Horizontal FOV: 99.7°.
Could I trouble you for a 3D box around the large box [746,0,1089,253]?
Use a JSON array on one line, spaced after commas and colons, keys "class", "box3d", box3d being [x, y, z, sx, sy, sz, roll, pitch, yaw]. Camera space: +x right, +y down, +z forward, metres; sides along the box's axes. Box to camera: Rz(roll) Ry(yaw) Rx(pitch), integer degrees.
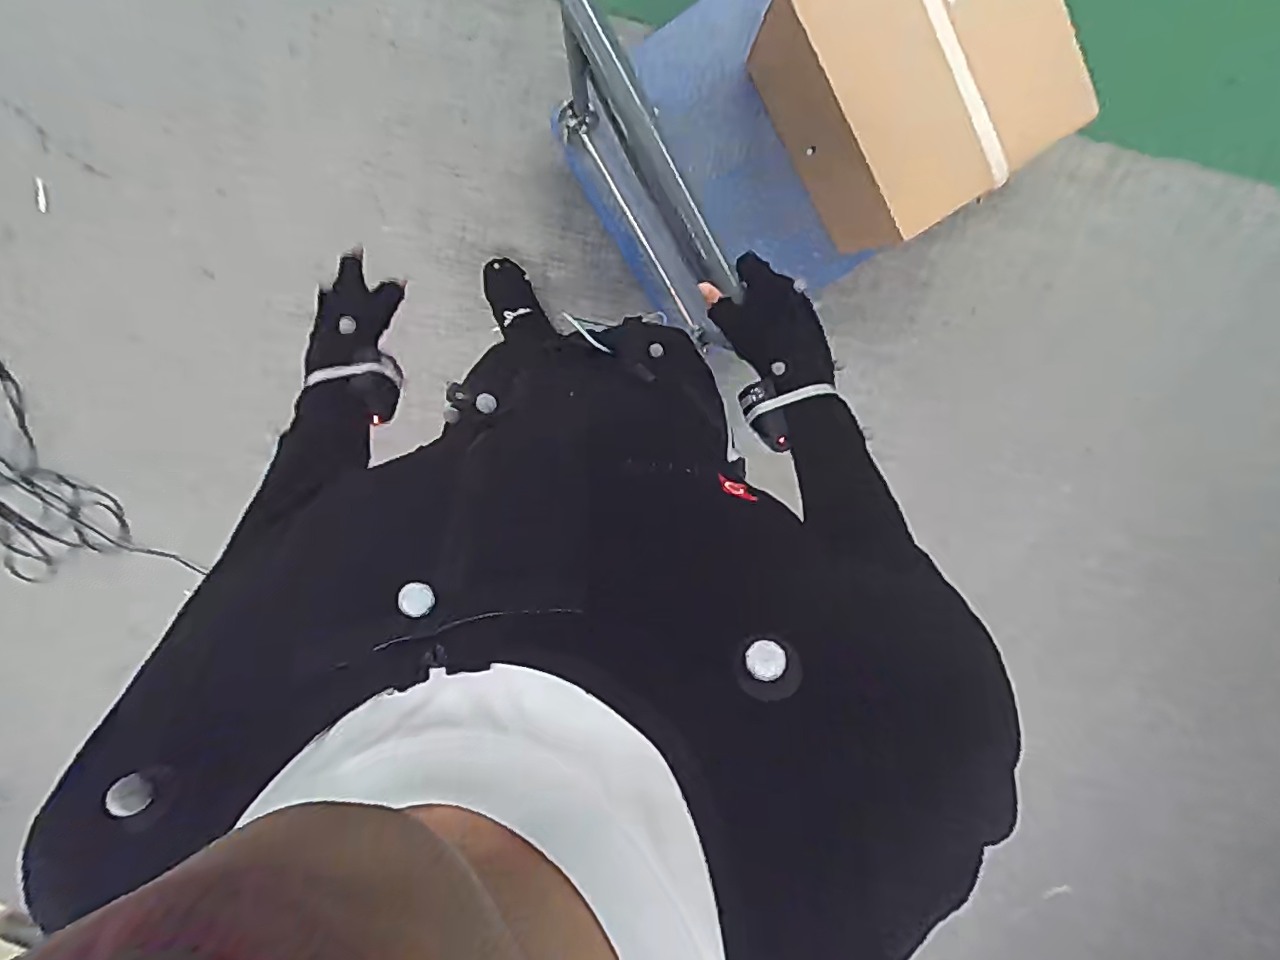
[{"class": "large box", "box3d": [0.426, -0.655, 0.909, 0.320, 0.320, 0.408, -32, 105, 11]}]
